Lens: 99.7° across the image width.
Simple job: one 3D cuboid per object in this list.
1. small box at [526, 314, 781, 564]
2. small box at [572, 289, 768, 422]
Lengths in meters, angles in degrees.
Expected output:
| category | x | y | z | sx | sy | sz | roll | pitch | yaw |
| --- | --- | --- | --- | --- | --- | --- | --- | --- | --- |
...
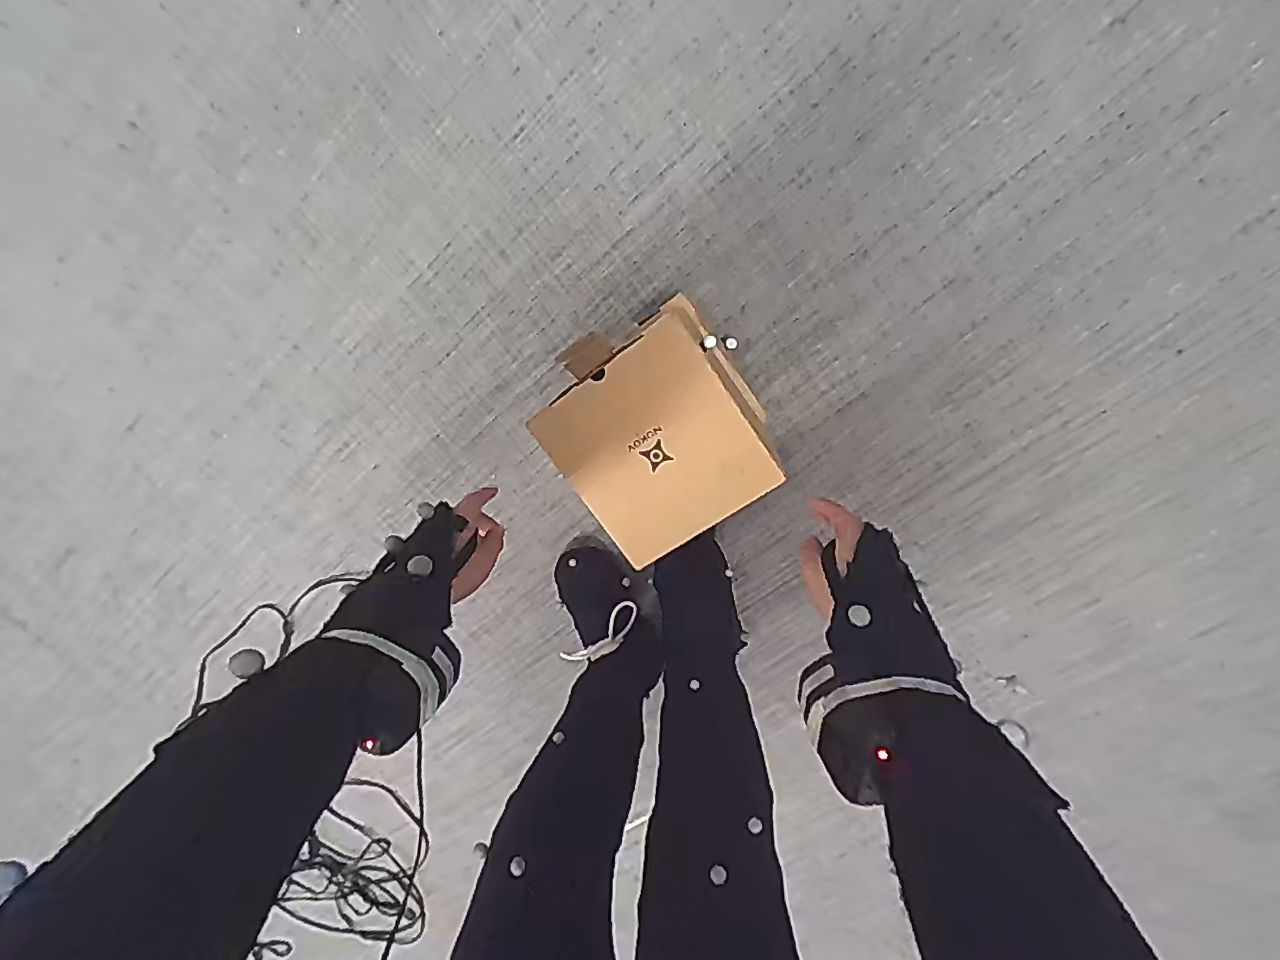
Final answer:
| category | x | y | z | sx | sy | sz | roll | pitch | yaw |
| --- | --- | --- | --- | --- | --- | --- | --- | --- | --- |
| small box | 0.022 | -0.053 | 0.550 | 0.168 | 0.176 | 0.179 | -33 | 101 | 16 |
| small box | 0.042 | -0.120 | 0.698 | 0.168 | 0.176 | 0.179 | -34 | 100 | 16 |
